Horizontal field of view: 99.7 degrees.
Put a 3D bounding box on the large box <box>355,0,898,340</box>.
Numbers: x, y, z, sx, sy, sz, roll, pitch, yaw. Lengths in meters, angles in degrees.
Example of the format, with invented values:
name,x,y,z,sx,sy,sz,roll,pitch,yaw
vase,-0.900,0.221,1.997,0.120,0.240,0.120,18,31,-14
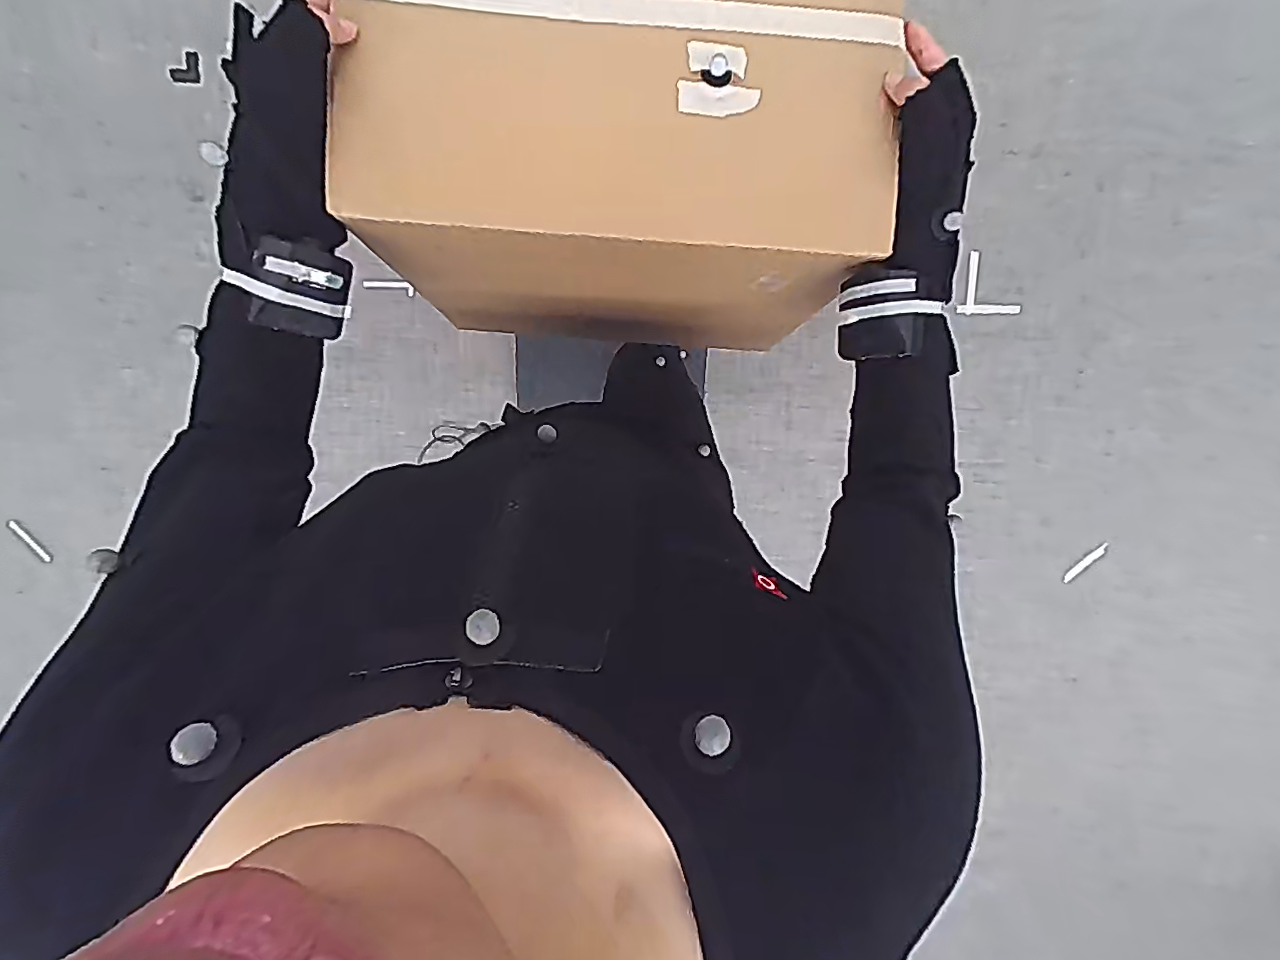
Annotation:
name,x,y,z,sx,sy,sz,roll,pitch,yaw
large box,-0.013,-0.340,0.549,0.408,0.320,0.320,3,91,-3

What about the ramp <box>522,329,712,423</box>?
name,x,y,z,sx,sy,sz,roll,pitch,yaw
ramp,-0.045,-0.631,1.293,0.509,0.206,0.991,0,99,-3
